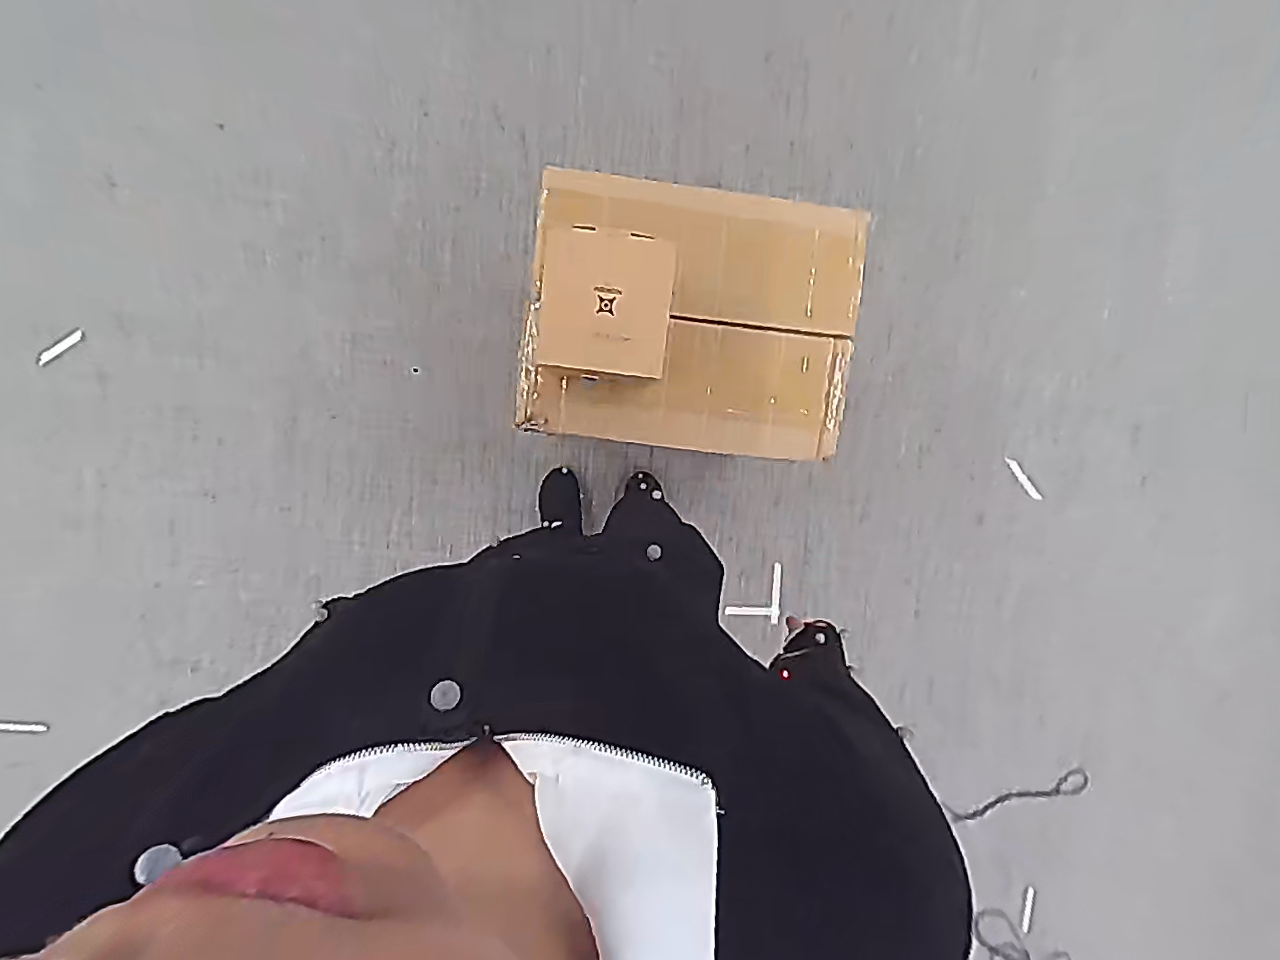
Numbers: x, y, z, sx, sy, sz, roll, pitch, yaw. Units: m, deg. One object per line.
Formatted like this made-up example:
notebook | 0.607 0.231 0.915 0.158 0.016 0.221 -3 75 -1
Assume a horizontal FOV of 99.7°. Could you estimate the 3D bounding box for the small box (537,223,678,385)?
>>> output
small box | -0.046 -0.235 0.765 0.168 0.176 0.179 6 97 -3
